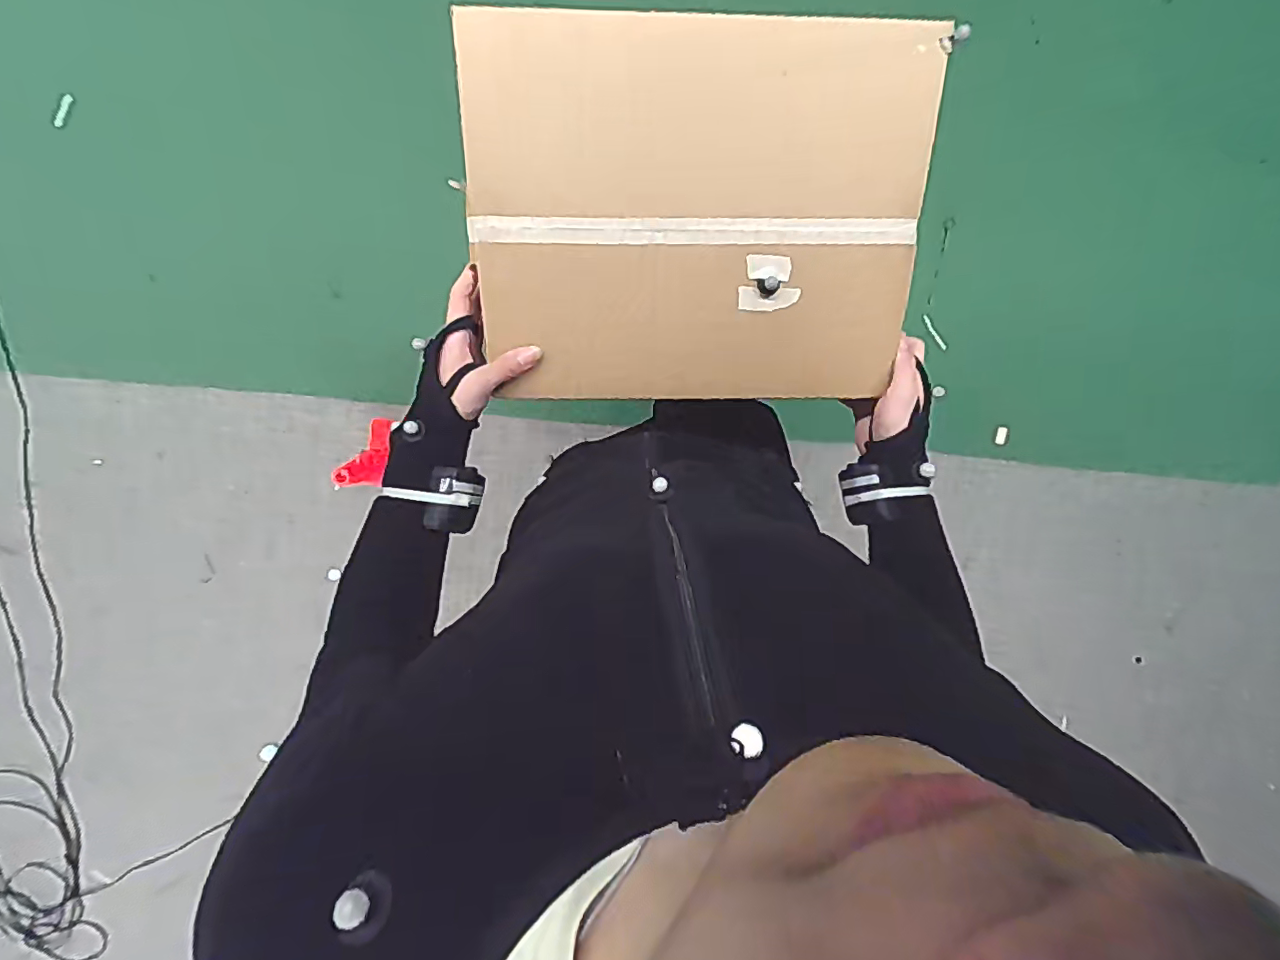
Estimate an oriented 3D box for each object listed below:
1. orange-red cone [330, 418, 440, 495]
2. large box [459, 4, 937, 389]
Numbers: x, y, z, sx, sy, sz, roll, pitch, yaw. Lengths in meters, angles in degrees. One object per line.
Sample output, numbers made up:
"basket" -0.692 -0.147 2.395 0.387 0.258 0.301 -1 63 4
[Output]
"orange-red cone" -0.690 -0.039 1.398 0.199 0.360 0.198 13 99 -2
"large box" 0.043 -0.296 0.633 0.408 0.320 0.320 -1 113 -3
